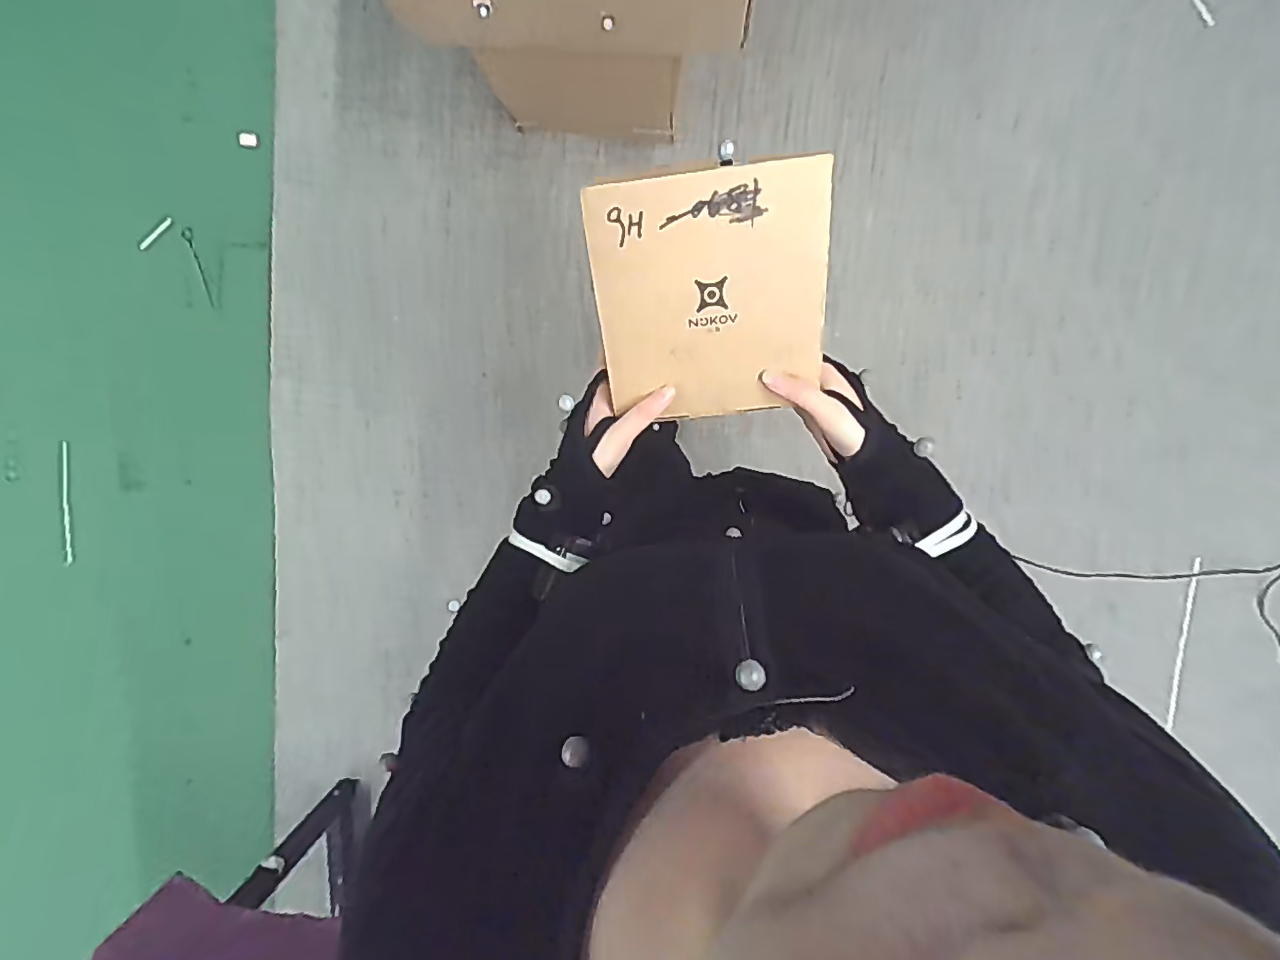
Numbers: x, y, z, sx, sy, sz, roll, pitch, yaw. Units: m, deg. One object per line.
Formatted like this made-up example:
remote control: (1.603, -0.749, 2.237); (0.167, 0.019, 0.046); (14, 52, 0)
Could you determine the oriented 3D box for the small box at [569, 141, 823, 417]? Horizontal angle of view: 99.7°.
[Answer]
small box: (0.046, -0.174, 0.457); (0.168, 0.176, 0.179); (-6, 122, 5)
